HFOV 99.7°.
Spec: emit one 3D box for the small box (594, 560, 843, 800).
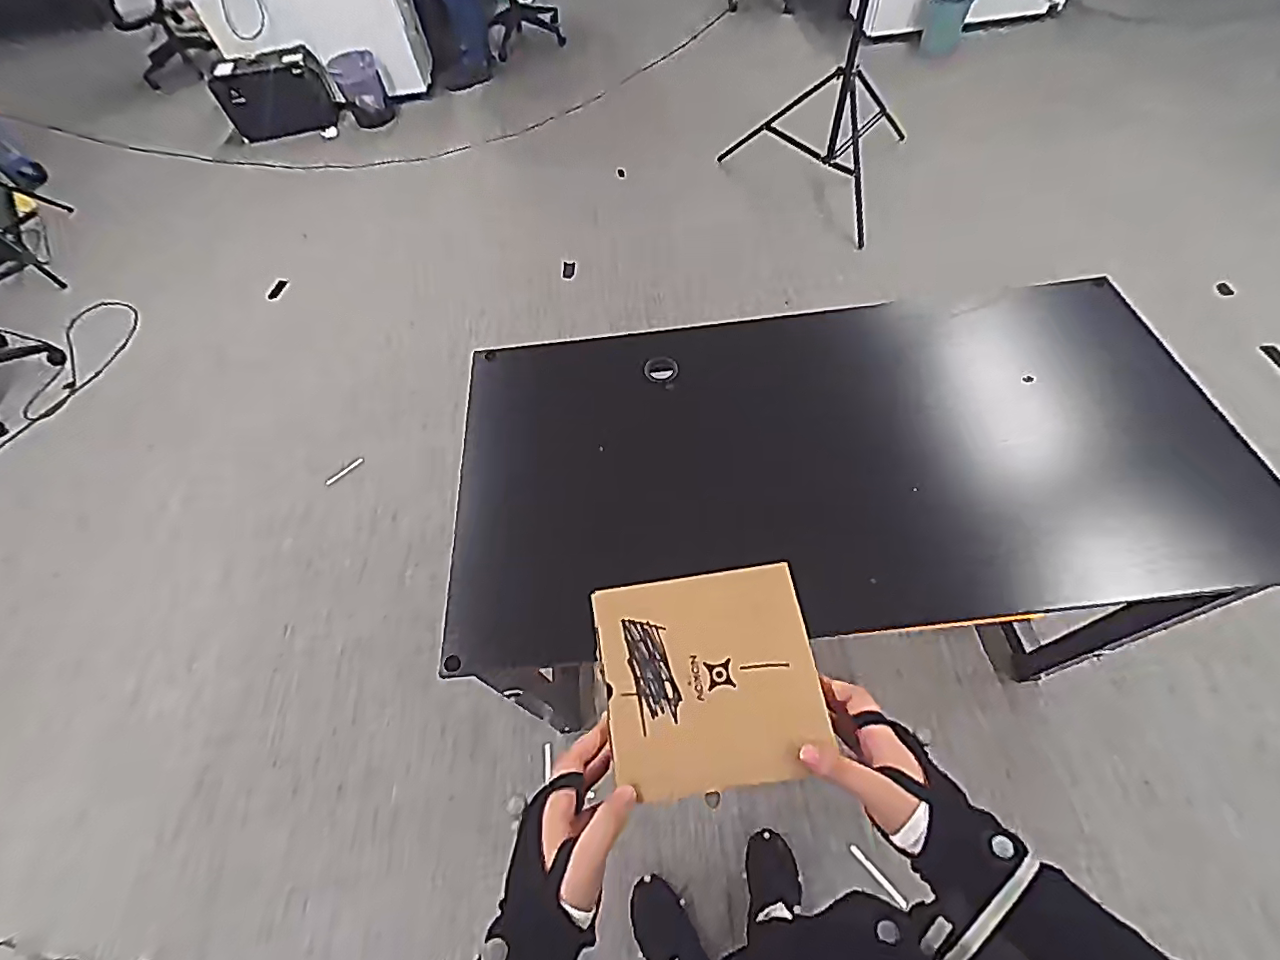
[{"bbox_3d":[0.060,0.188,0.505,0.179,0.176,0.168,-8,65,-2],"label":"small box"}]
